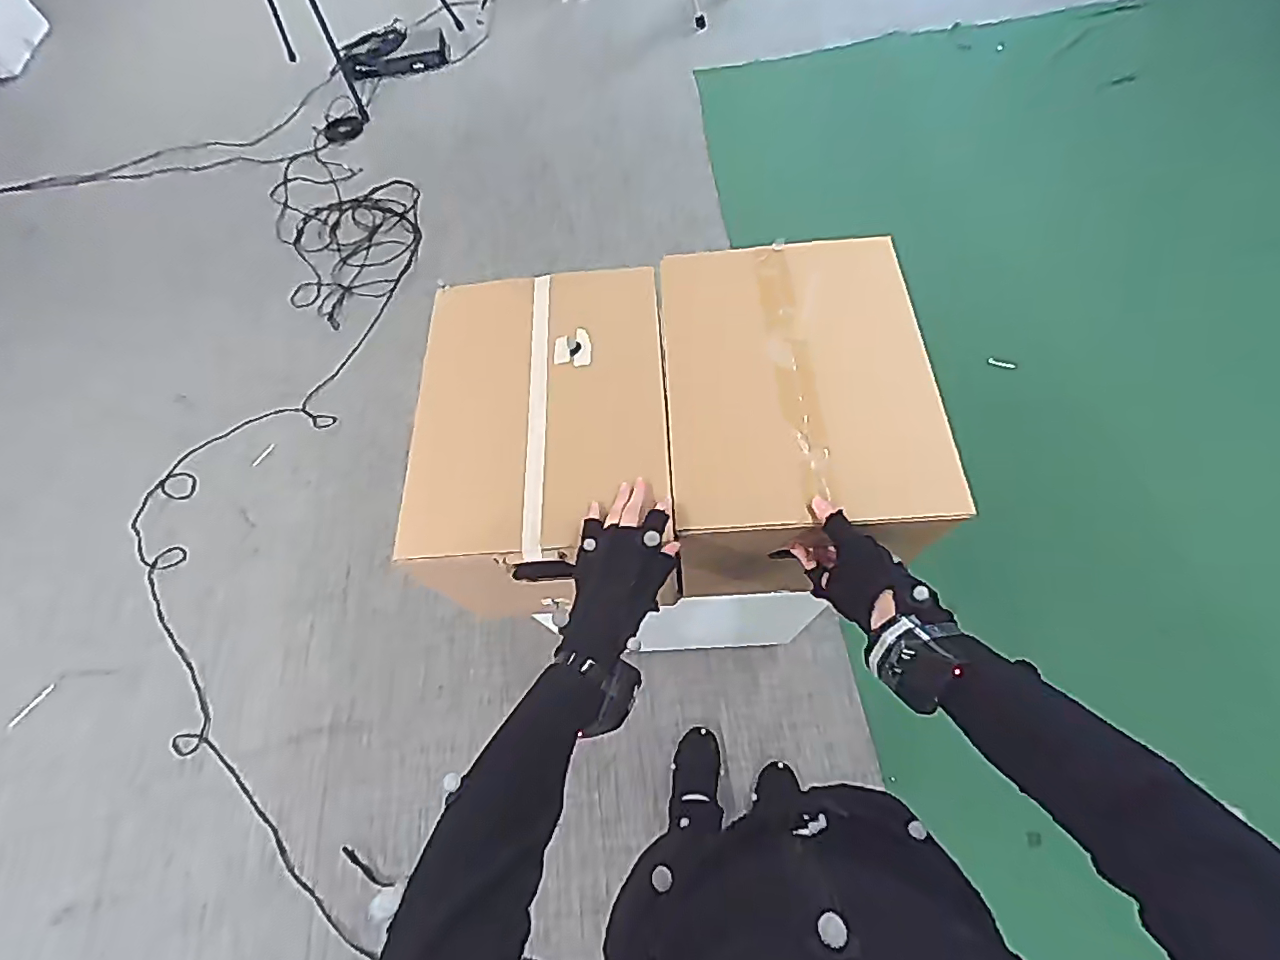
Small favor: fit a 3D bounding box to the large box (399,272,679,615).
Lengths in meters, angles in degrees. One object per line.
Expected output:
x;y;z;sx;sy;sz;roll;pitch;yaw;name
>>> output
-0.117;-0.037;0.815;0.320;0.320;0.408;-4;64;4;large box
